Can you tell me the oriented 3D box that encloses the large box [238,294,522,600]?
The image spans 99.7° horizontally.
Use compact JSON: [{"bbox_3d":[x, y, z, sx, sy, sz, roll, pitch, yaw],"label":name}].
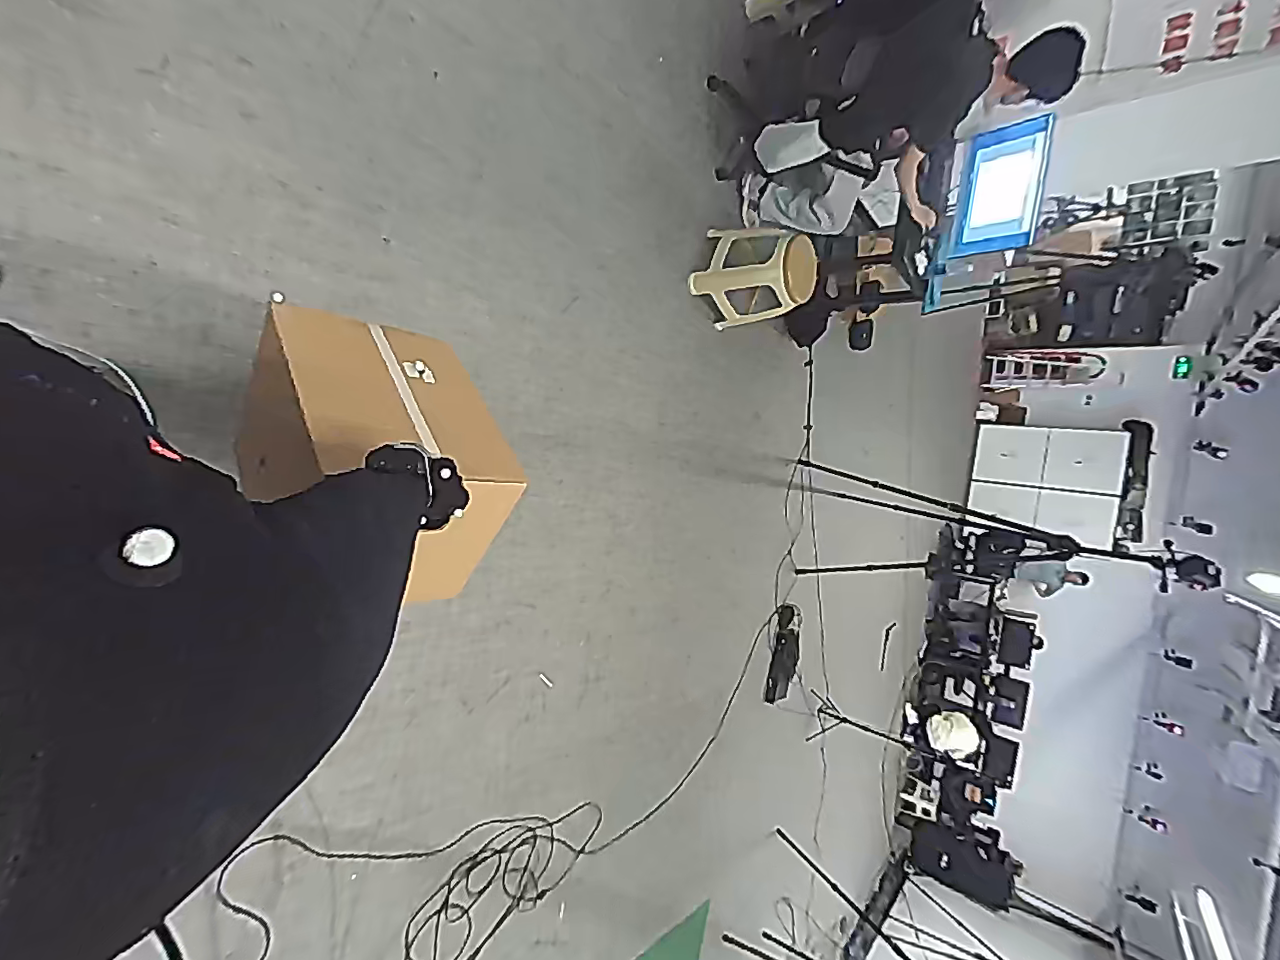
[{"bbox_3d":[-0.476,-0.054,0.960,0.320,0.408,0.320,3,133,-48],"label":"large box"}]
